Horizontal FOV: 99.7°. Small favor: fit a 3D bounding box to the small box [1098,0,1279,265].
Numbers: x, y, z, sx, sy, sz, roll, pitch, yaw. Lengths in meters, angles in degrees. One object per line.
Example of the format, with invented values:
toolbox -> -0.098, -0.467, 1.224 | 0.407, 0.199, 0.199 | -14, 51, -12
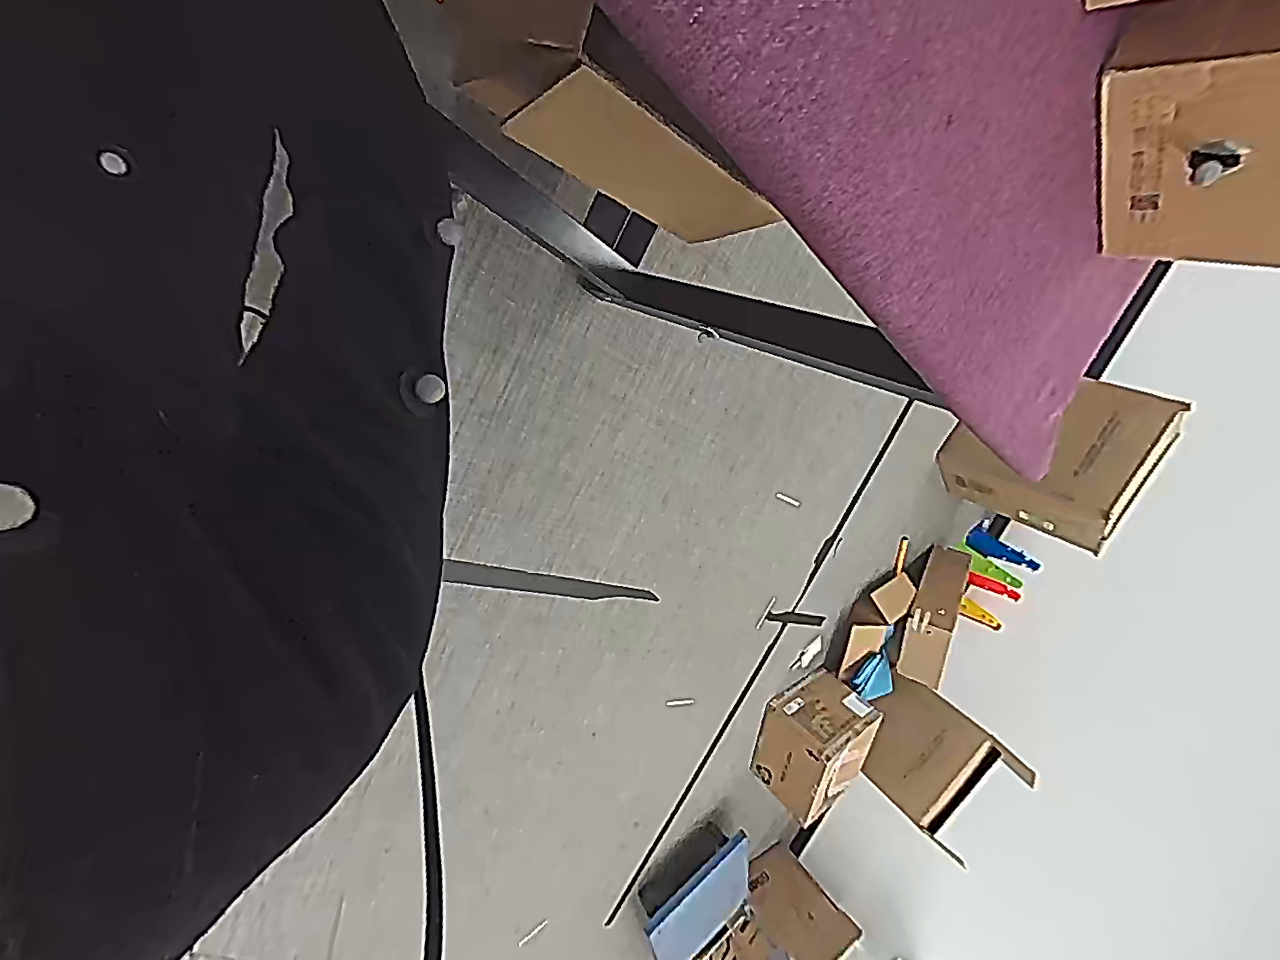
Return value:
small box -> 0.387, -0.237, 0.286 | 0.168, 0.176, 0.179 | 25, 96, -46
